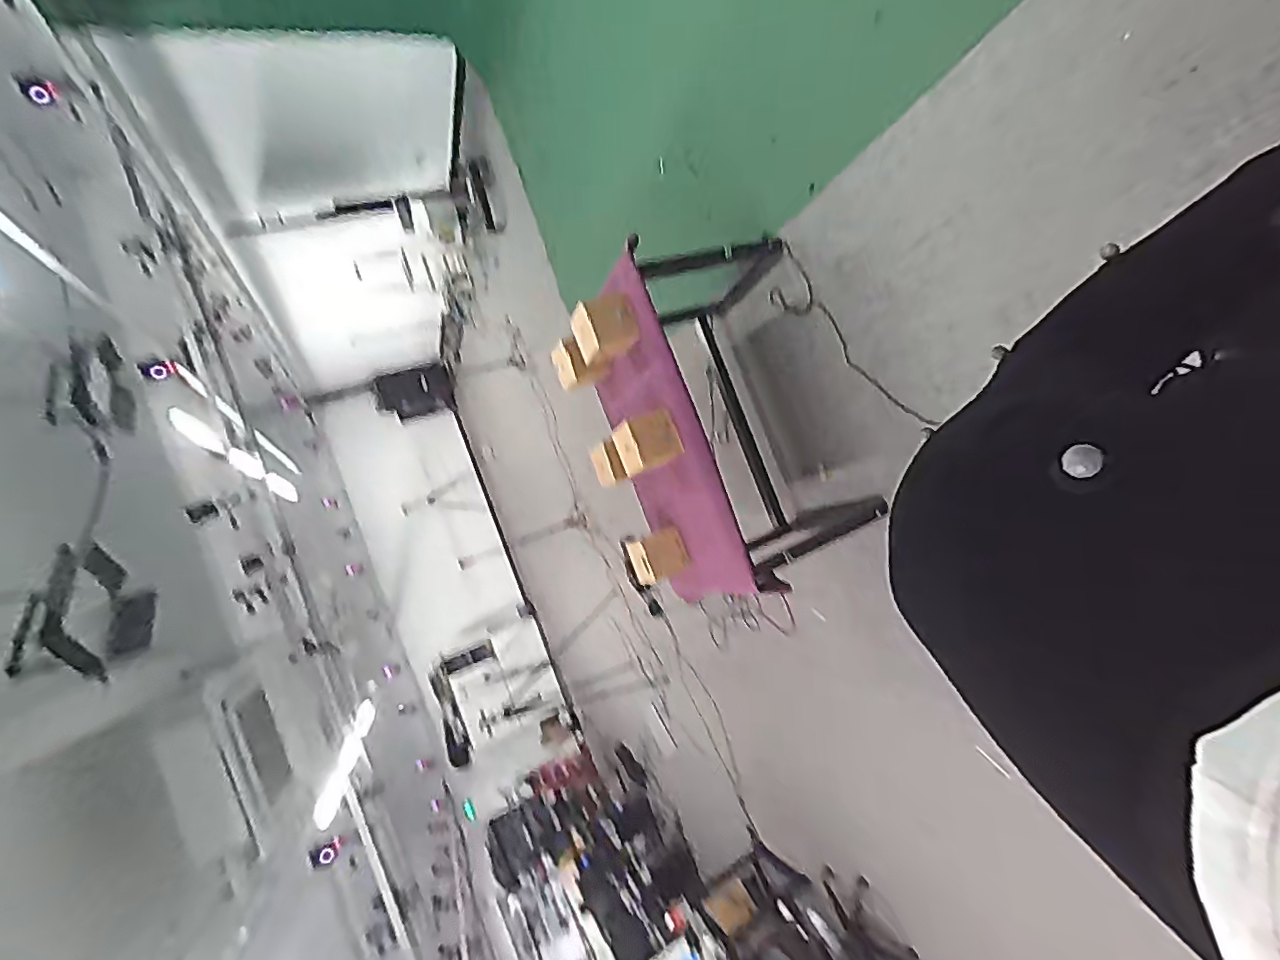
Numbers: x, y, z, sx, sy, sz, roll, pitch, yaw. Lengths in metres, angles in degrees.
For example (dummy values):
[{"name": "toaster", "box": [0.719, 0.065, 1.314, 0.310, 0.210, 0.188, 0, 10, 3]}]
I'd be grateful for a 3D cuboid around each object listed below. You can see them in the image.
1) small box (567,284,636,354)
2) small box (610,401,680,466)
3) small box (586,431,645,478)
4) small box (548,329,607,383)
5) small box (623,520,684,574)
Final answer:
[{"name": "small box", "box": [-0.134, -0.567, 1.907, 0.168, 0.176, 0.179, 68, 157, 1]}, {"name": "small box", "box": [0.017, -0.163, 1.915, 0.168, 0.176, 0.179, 68, 157, 4]}, {"name": "small box", "box": [-0.094, -0.117, 2.188, 0.179, 0.176, 0.168, -16, 93, 66]}, {"name": "small box", "box": [-0.249, -0.514, 2.196, 0.179, 0.176, 0.168, -20, 90, 63]}, {"name": "small box", "box": [0.059, 0.265, 2.156, 0.179, 0.176, 0.168, -23, 87, 67]}]
